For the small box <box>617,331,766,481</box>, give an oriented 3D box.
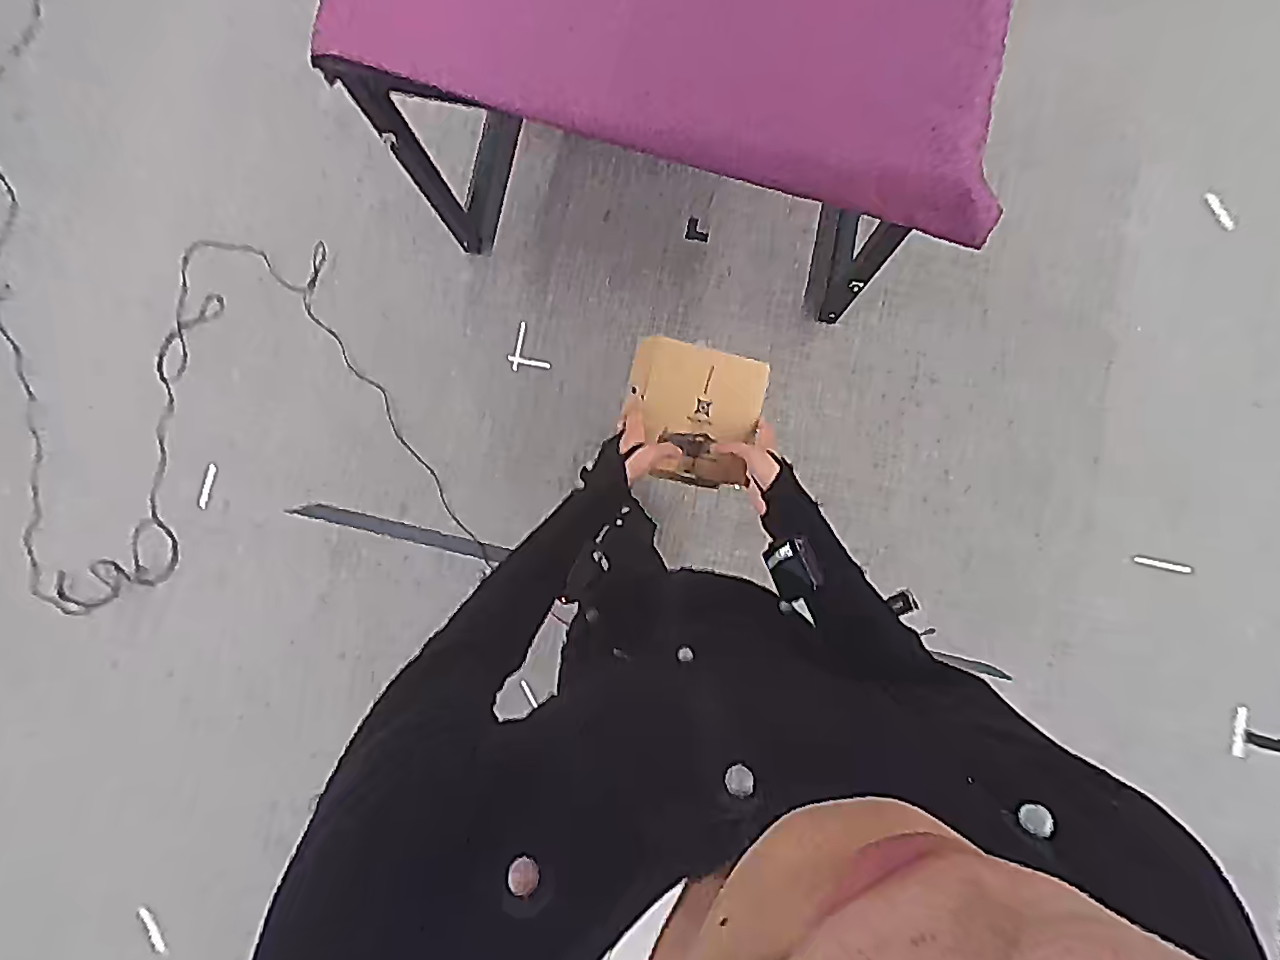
[{"bbox_3d":[0.064,-0.114,0.812,0.168,0.176,0.179,11,100,-11],"label":"small box"}]
